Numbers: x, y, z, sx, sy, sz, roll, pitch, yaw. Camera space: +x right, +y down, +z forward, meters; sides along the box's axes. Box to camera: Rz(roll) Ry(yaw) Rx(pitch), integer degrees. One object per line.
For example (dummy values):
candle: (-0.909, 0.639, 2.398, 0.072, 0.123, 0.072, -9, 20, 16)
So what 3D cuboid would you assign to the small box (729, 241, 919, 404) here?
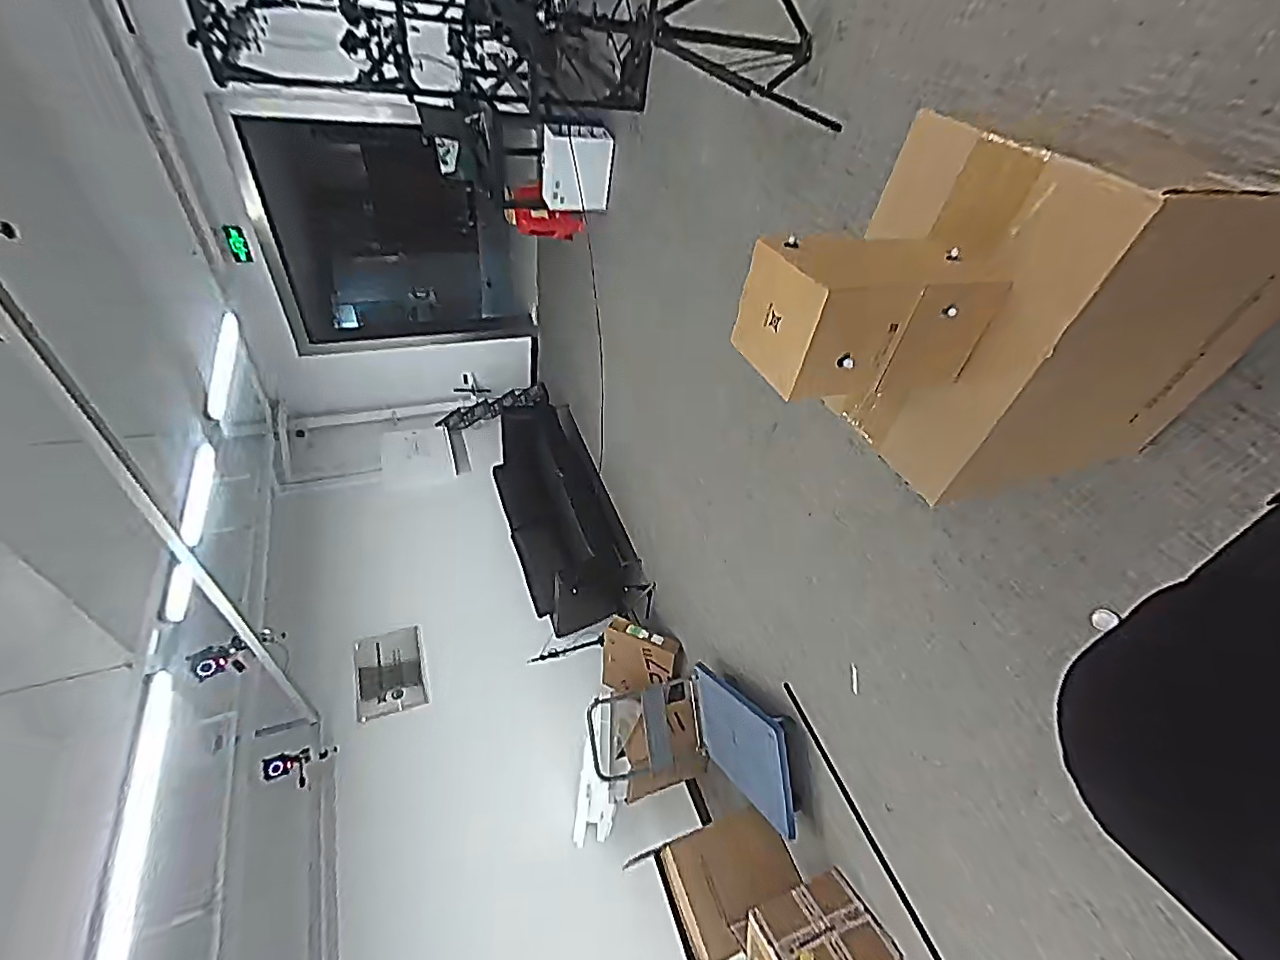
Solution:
small box: (0.256, -0.234, 0.778, 0.168, 0.176, 0.179, 99, 153, -42)
